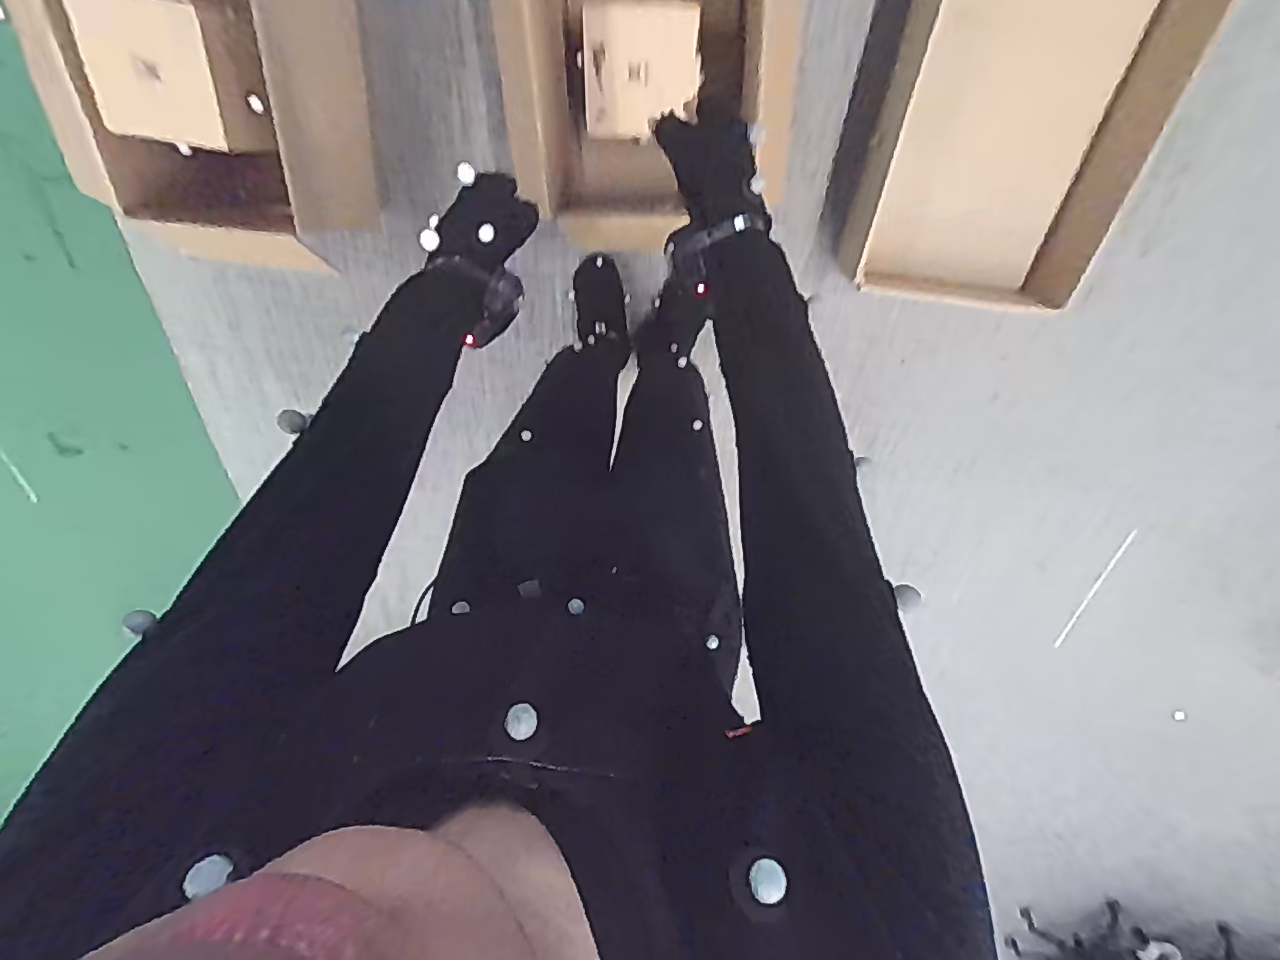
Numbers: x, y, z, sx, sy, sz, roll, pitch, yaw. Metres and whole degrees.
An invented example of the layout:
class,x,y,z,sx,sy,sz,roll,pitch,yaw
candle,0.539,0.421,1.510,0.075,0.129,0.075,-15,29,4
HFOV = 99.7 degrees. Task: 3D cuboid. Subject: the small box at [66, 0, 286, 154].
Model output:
class,x,y,z,sx,sy,sz,roll,pitch,yaw
small box,-0.666,-0.600,0.809,0.179,0.176,0.168,8,122,-3
